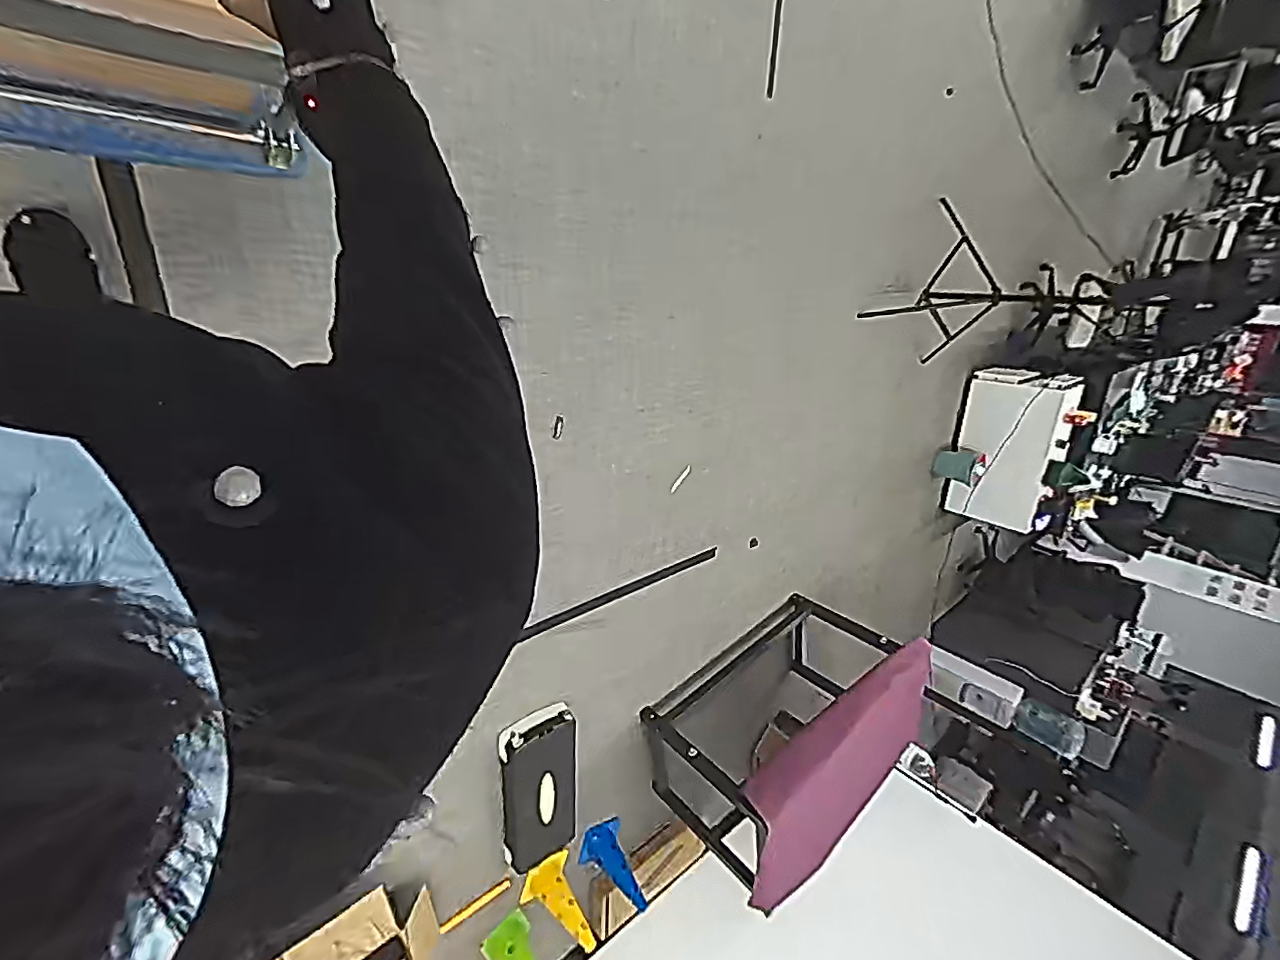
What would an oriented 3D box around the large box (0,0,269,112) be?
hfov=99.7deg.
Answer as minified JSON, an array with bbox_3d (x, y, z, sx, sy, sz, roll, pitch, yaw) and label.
[{"bbox_3d":[-0.743,-0.708,0.664,0.408,0.320,0.320,-13,114,-39],"label":"large box"}]
